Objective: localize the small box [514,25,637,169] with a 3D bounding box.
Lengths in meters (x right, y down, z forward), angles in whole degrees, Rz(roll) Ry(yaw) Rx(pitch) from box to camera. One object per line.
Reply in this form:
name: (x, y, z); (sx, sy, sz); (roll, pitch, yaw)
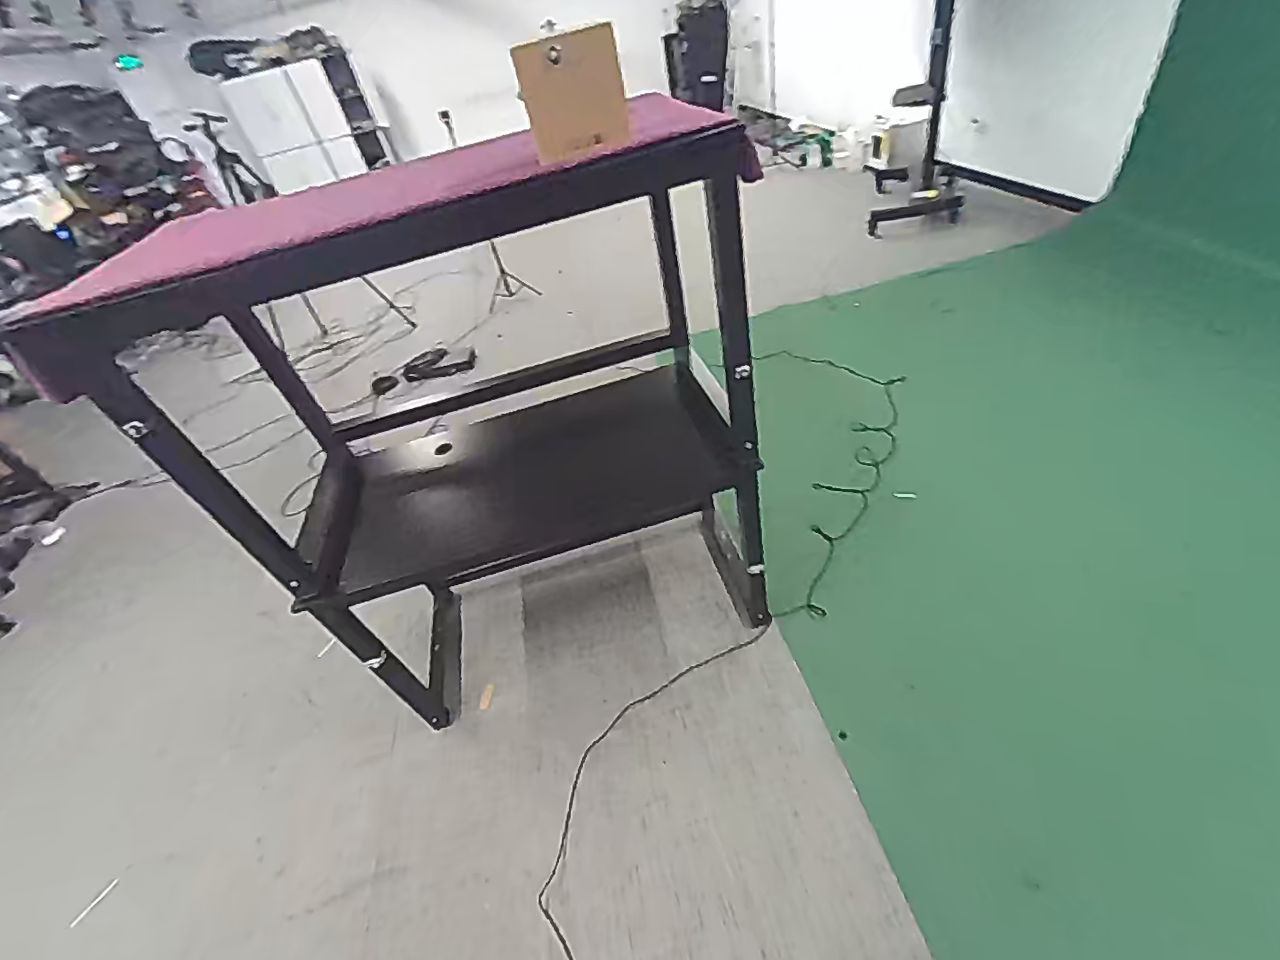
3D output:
small box: (-0.108, -0.661, 0.939); (0.168, 0.176, 0.179); (-15, 41, 2)
